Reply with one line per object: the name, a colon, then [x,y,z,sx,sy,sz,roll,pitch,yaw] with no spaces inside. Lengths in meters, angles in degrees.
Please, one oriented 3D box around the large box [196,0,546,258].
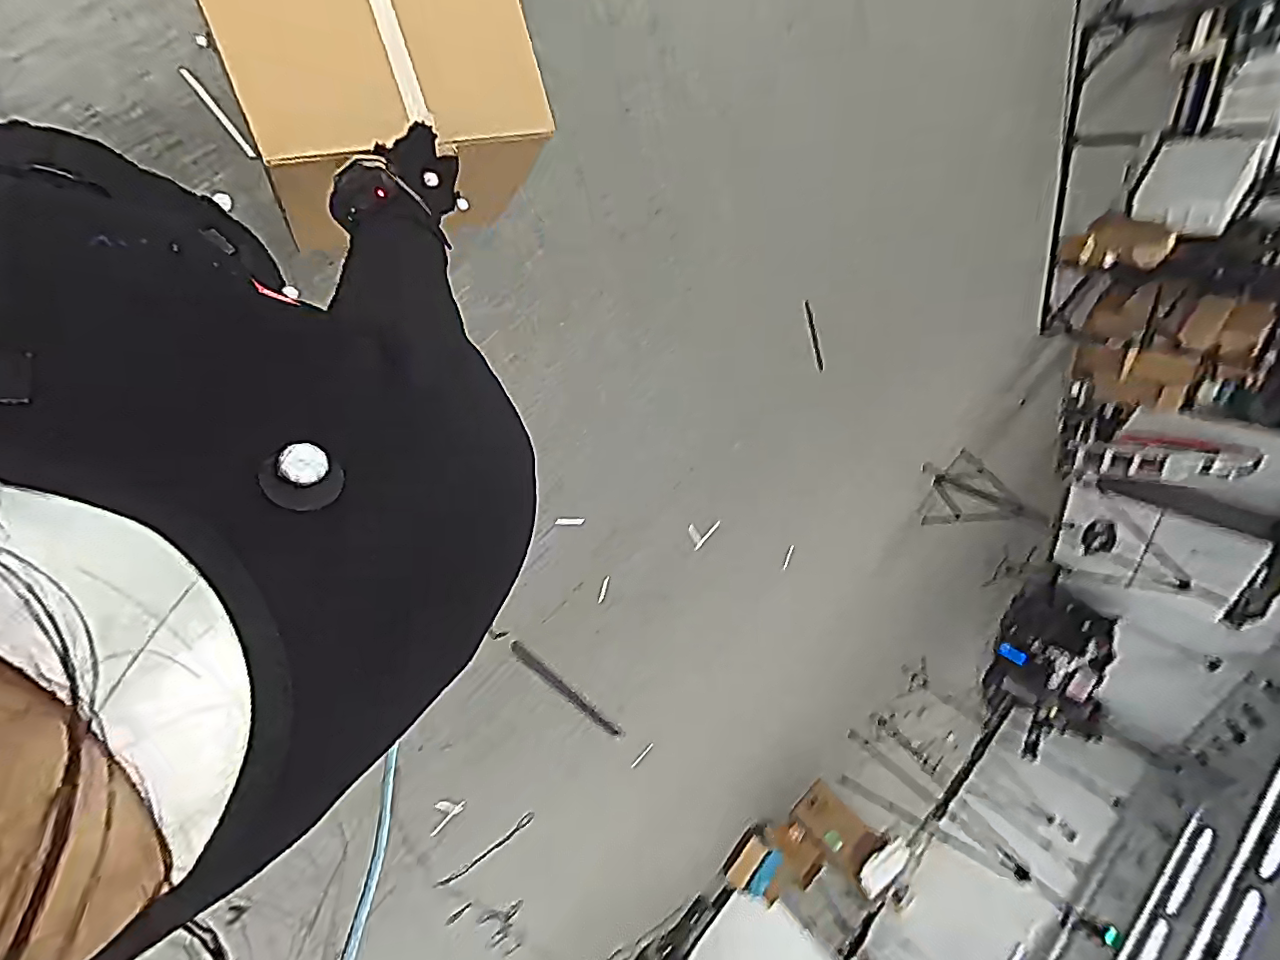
large box: [-0.366,-0.559,0.698,0.320,0.320,0.408,-23,104,-25]
